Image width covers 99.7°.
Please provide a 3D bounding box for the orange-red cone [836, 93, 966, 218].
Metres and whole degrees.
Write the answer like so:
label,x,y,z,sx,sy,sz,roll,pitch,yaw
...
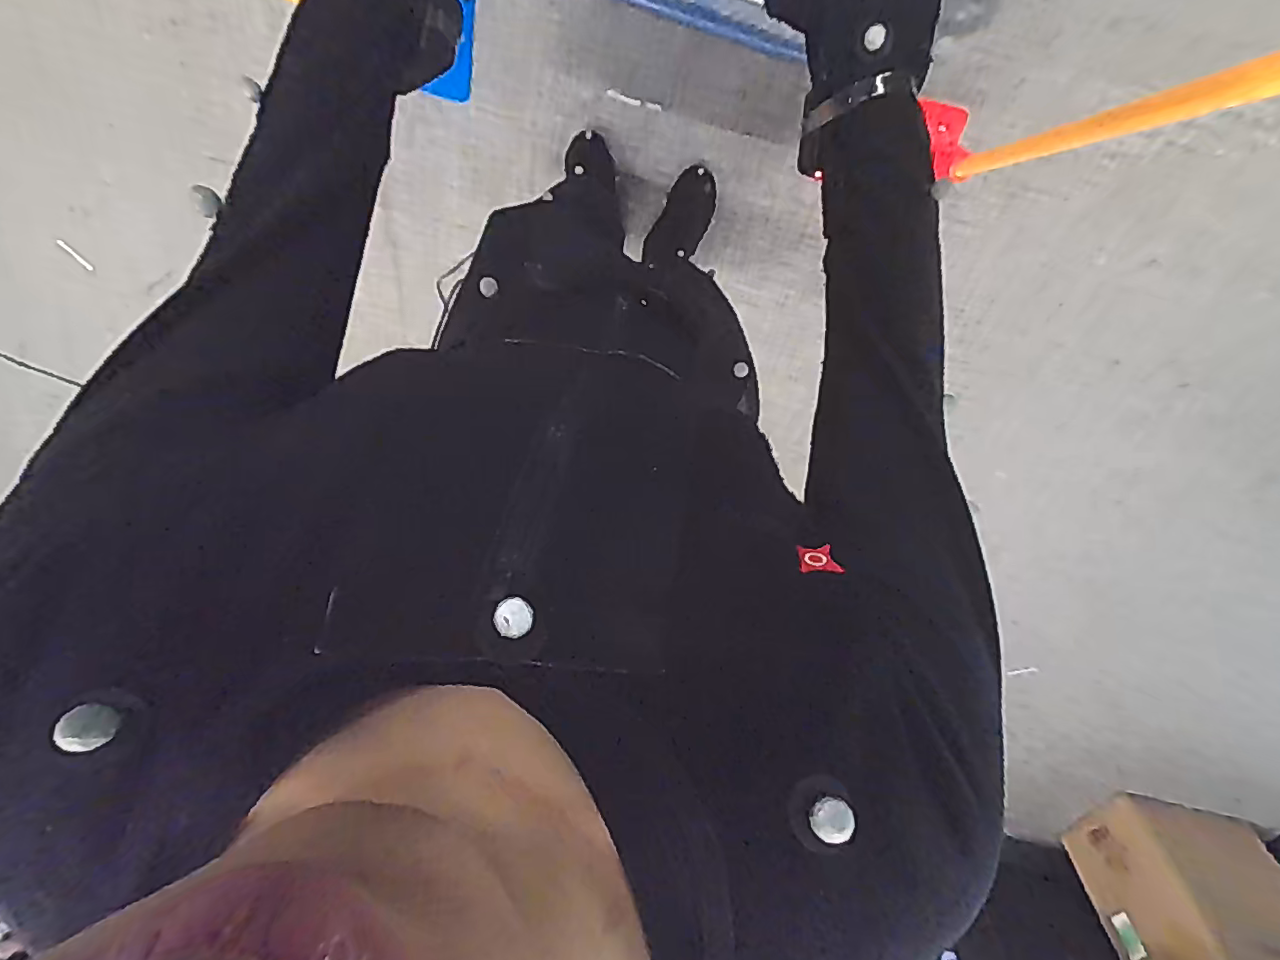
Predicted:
label,x,y,z,sx,sy,sz,roll,pitch,yaw
orange-red cone,0.513,-0.586,0.993,0.199,0.360,0.198,16,123,-1
